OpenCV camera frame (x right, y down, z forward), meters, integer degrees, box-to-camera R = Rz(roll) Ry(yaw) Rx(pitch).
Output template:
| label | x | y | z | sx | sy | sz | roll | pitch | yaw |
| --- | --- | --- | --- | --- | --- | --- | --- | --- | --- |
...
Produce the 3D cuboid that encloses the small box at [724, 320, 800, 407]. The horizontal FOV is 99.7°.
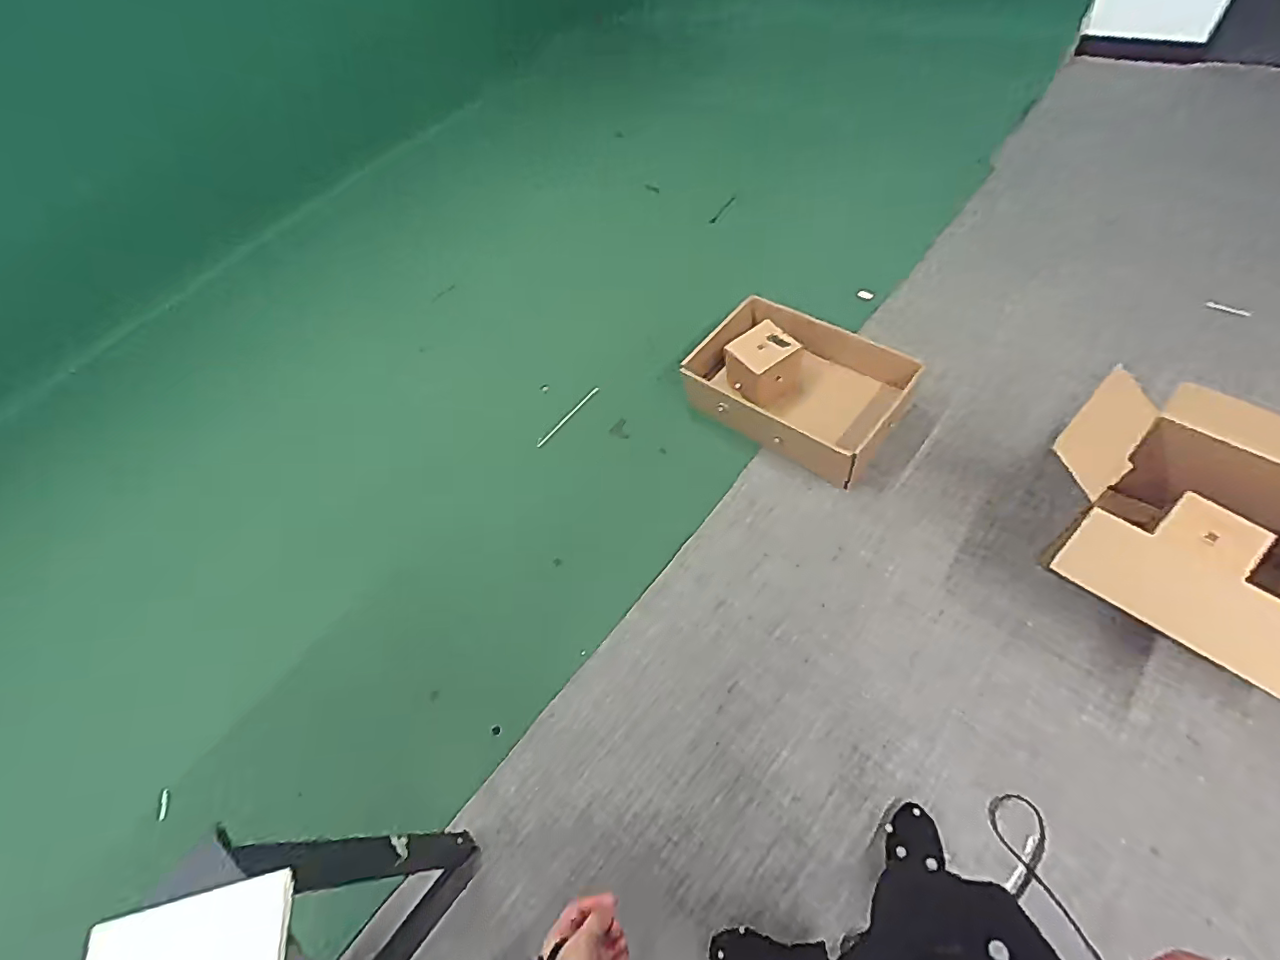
| label | x | y | z | sx | sy | sz | roll | pitch | yaw |
| --- | --- | --- | --- | --- | --- | --- | --- | --- | --- |
| small box | 0.386 | -0.371 | 1.737 | 0.179 | 0.176 | 0.168 | -34 | 58 | -10 |
